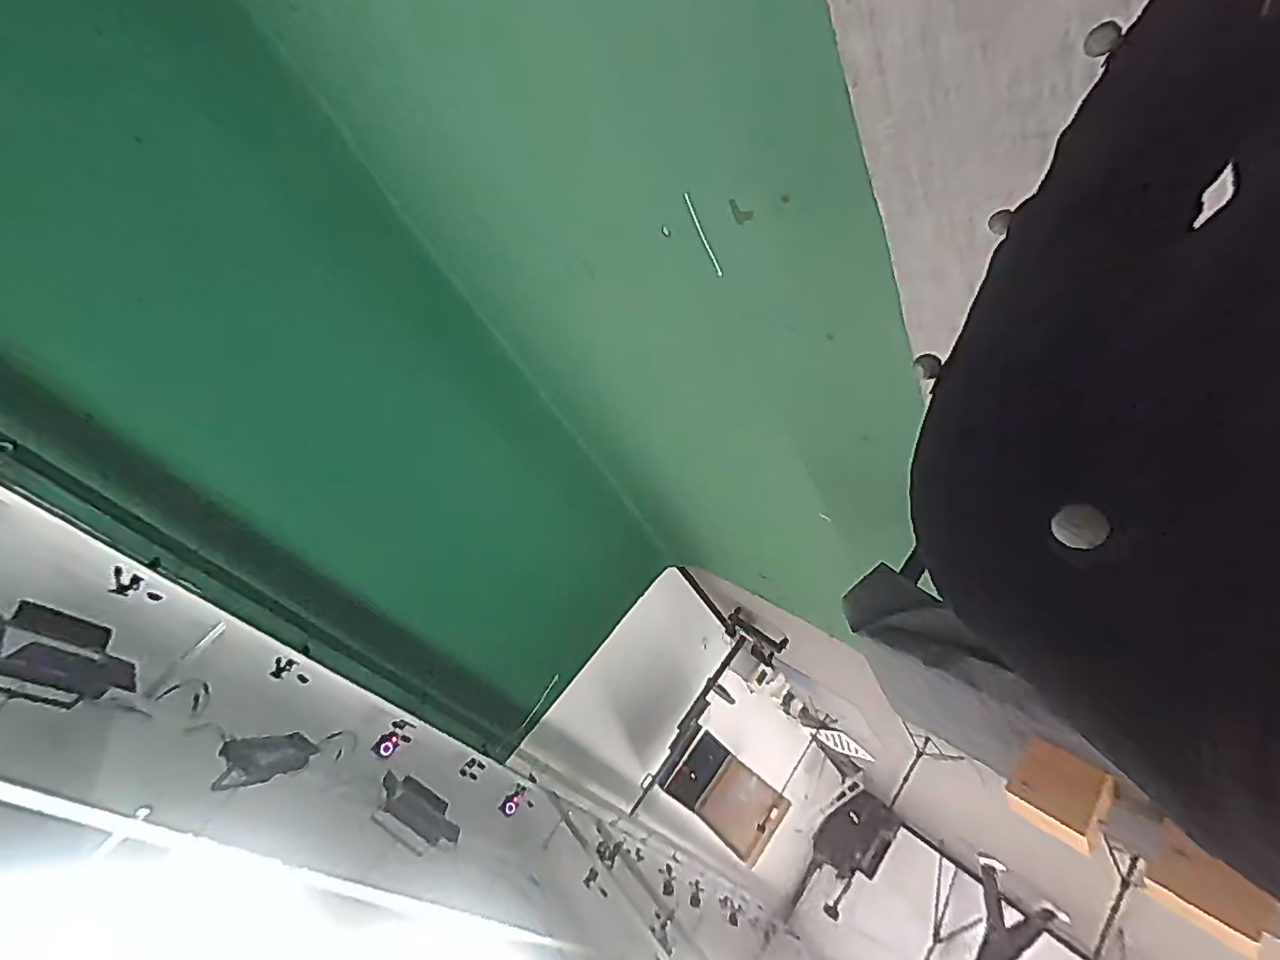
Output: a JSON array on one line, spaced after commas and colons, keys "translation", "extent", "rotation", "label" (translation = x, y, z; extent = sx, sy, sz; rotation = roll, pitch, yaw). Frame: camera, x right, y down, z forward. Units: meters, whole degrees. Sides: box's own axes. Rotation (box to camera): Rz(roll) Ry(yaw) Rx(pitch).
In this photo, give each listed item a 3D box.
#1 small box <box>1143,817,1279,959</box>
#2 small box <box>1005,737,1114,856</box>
[{"translation": [1.231, 0.866, 1.166], "extent": [0.179, 0.176, 0.168], "rotation": [17, 152, 53], "label": "small box"}, {"translation": [1.060, 0.790, 1.362], "extent": [0.179, 0.176, 0.168], "rotation": [21, 154, 52], "label": "small box"}]
